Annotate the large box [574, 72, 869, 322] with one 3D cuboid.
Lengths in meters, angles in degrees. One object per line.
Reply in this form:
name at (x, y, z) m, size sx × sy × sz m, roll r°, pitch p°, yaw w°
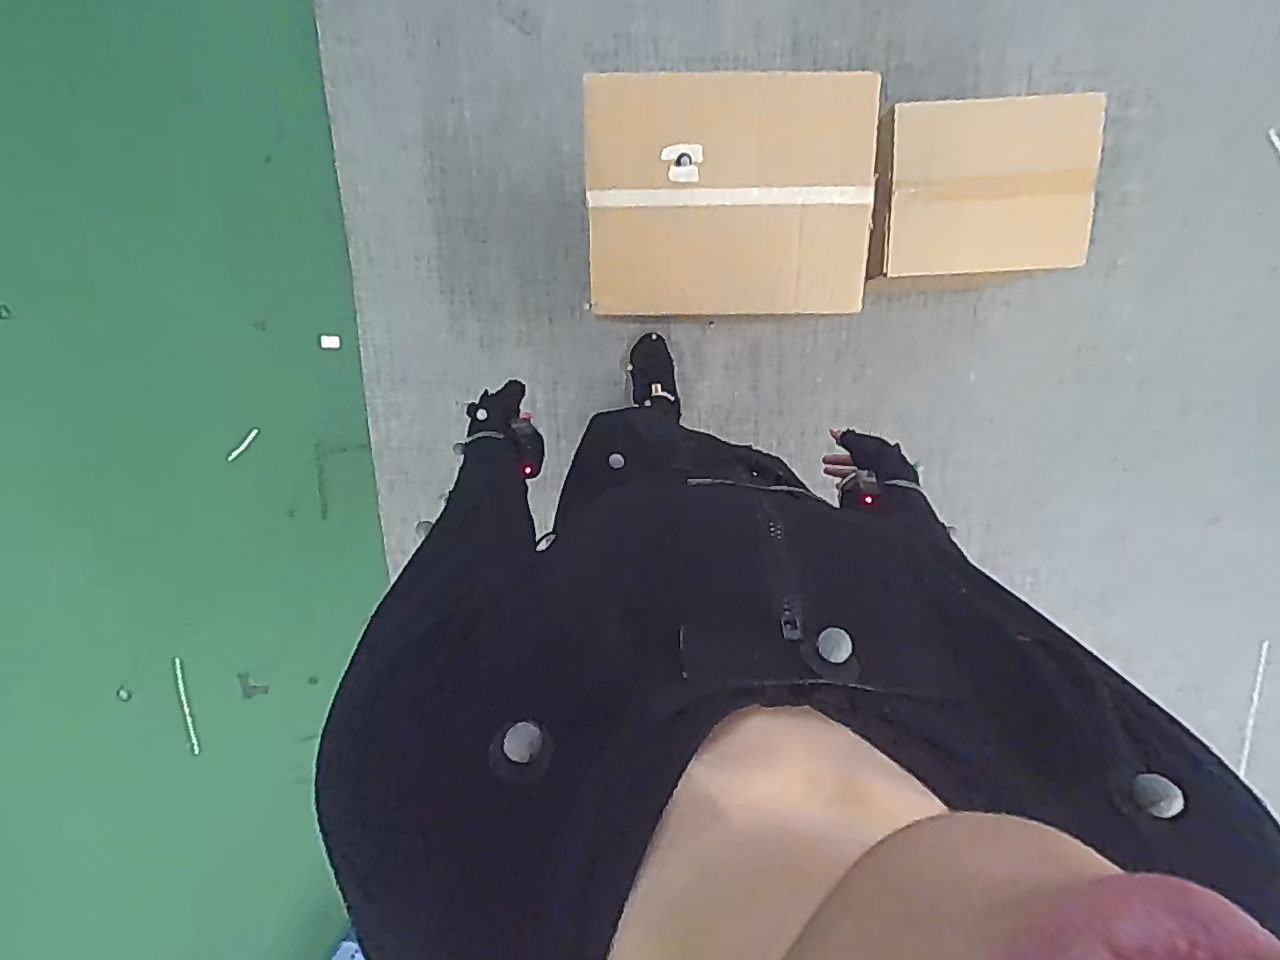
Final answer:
large box at (0.115, -0.429, 0.903) m, size 0.408 × 0.320 × 0.320 m, roll 0°, pitch 103°, yaw 1°
